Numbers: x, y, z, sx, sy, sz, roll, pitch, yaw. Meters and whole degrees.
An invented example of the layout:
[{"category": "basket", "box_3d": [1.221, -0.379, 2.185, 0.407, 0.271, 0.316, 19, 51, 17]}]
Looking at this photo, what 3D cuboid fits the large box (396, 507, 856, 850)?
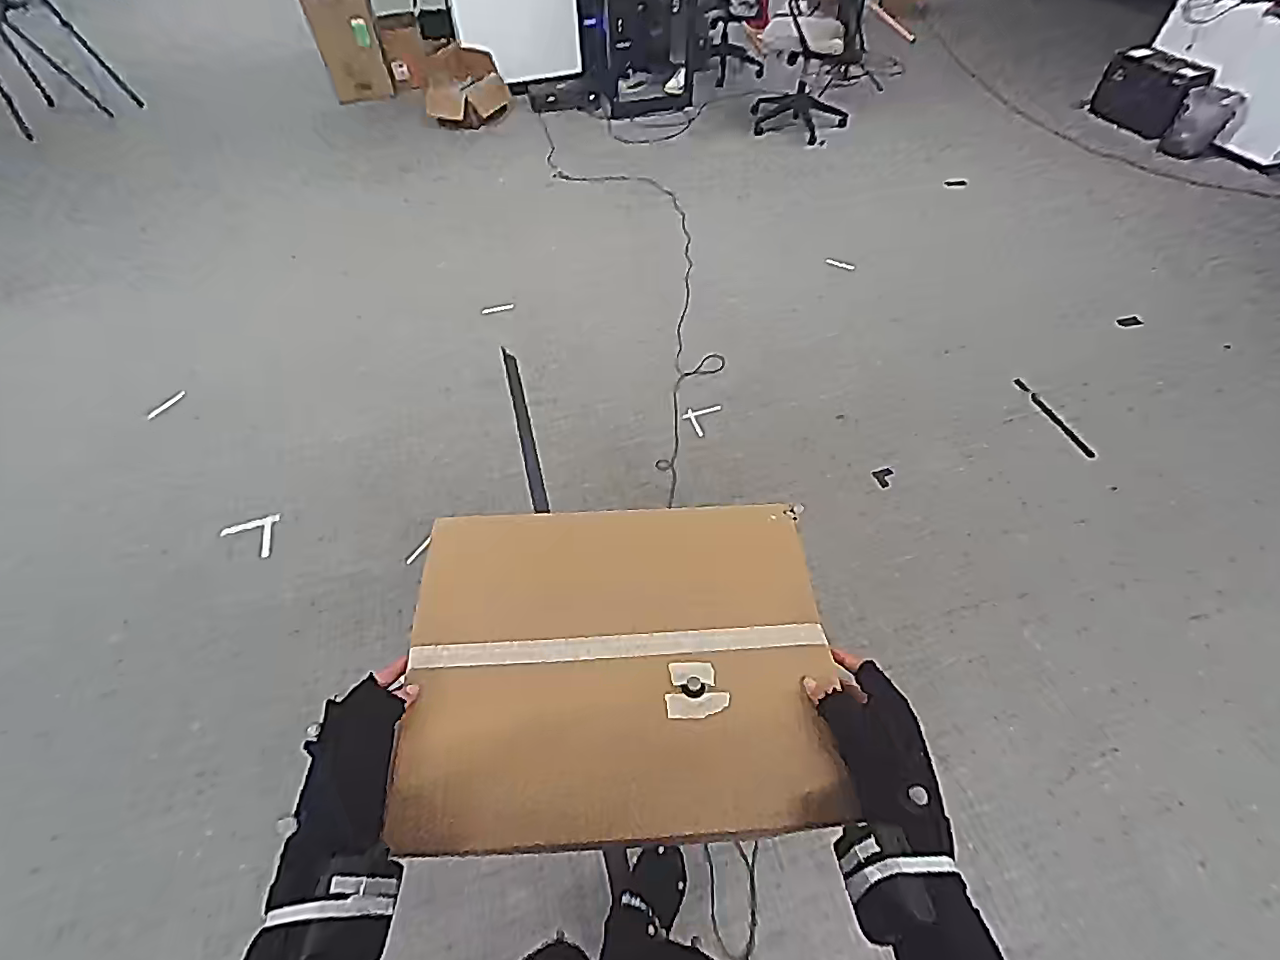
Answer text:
[{"category": "large box", "box_3d": [-0.021, 0.250, 0.664, 0.408, 0.320, 0.320, -2, 55, -3]}]
